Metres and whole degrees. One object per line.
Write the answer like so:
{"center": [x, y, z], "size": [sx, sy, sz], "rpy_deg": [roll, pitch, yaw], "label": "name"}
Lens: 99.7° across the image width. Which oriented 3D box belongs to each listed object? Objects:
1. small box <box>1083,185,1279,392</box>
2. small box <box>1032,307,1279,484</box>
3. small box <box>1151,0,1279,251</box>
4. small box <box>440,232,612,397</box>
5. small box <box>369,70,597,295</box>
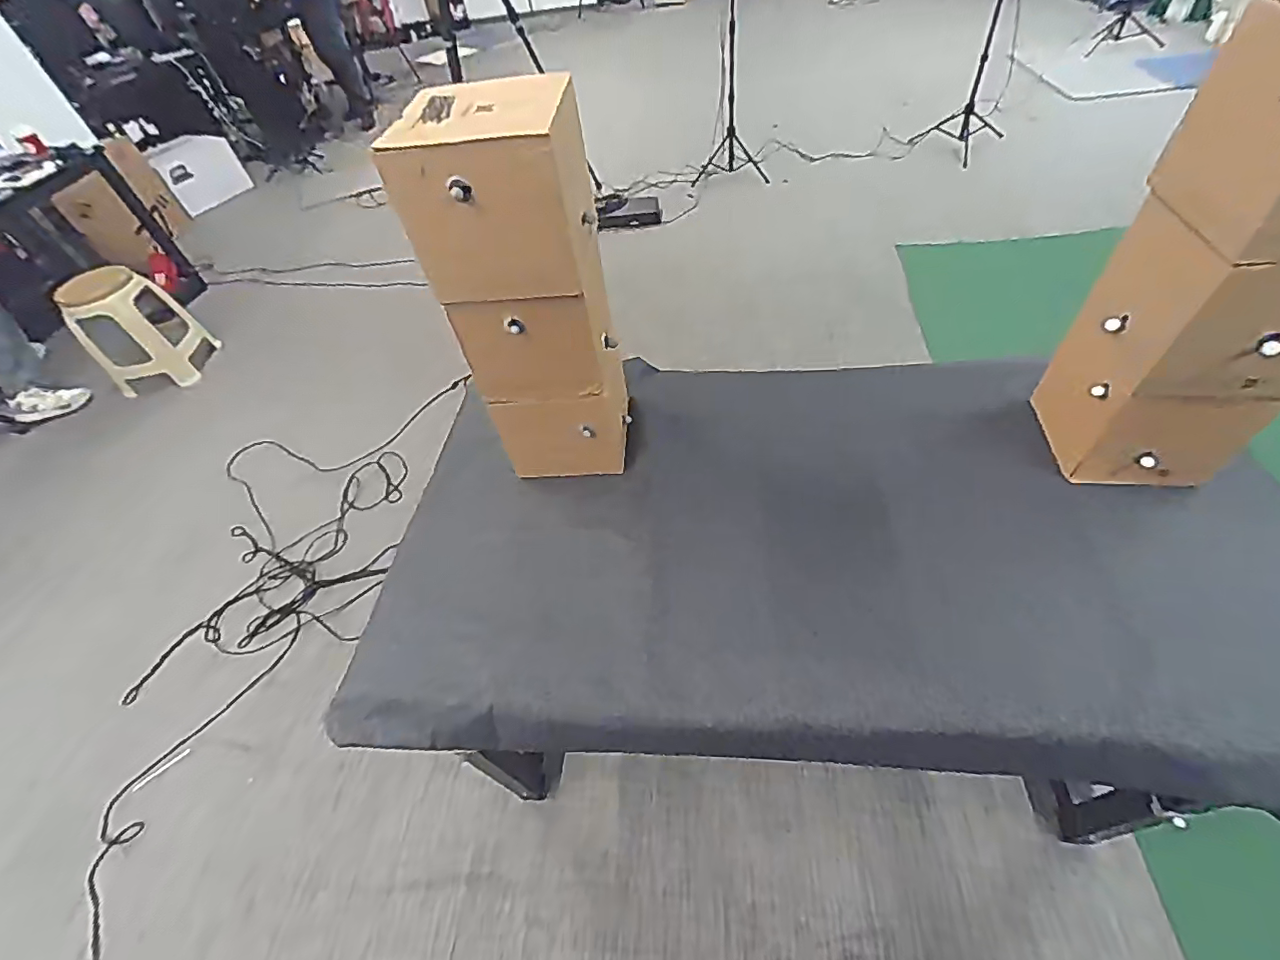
{"center": [0.652, -0.214, 0.604], "size": [0.168, 0.176, 0.179], "rpy_deg": [2, 53, 10], "label": "small box"}
{"center": [0.675, -0.116, 0.733], "size": [0.168, 0.176, 0.179], "rpy_deg": [2, 52, 10], "label": "small box"}
{"center": [0.625, -0.317, 0.478], "size": [0.168, 0.176, 0.179], "rpy_deg": [1, 52, 9], "label": "small box"}
{"center": [-0.139, -0.228, 0.736], "size": [0.179, 0.176, 0.168], "rpy_deg": [-2, 53, 5], "label": "small box"}
{"center": [-0.154, -0.323, 0.602], "size": [0.179, 0.176, 0.168], "rpy_deg": [-1, 53, 6], "label": "small box"}
